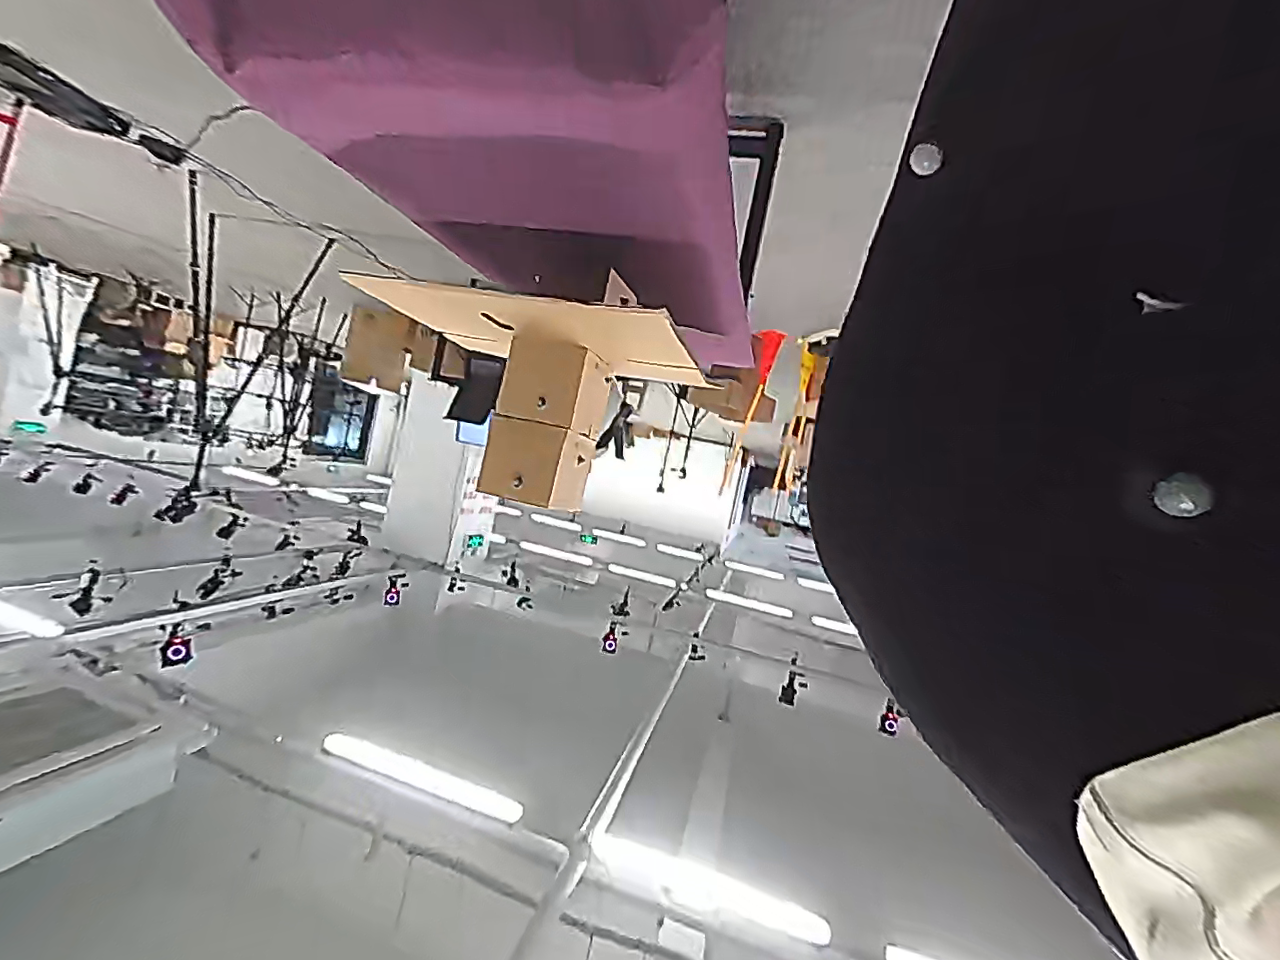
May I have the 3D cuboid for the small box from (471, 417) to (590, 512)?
[{"bbox_3d":[-0.228,-0.035,1.159,0.179,0.176,0.168,11,178,17],"label":"small box"}]

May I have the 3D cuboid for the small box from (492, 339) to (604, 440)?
[{"bbox_3d":[-0.186,-0.192,1.159,0.179,0.176,0.168,13,179,16],"label":"small box"}]
